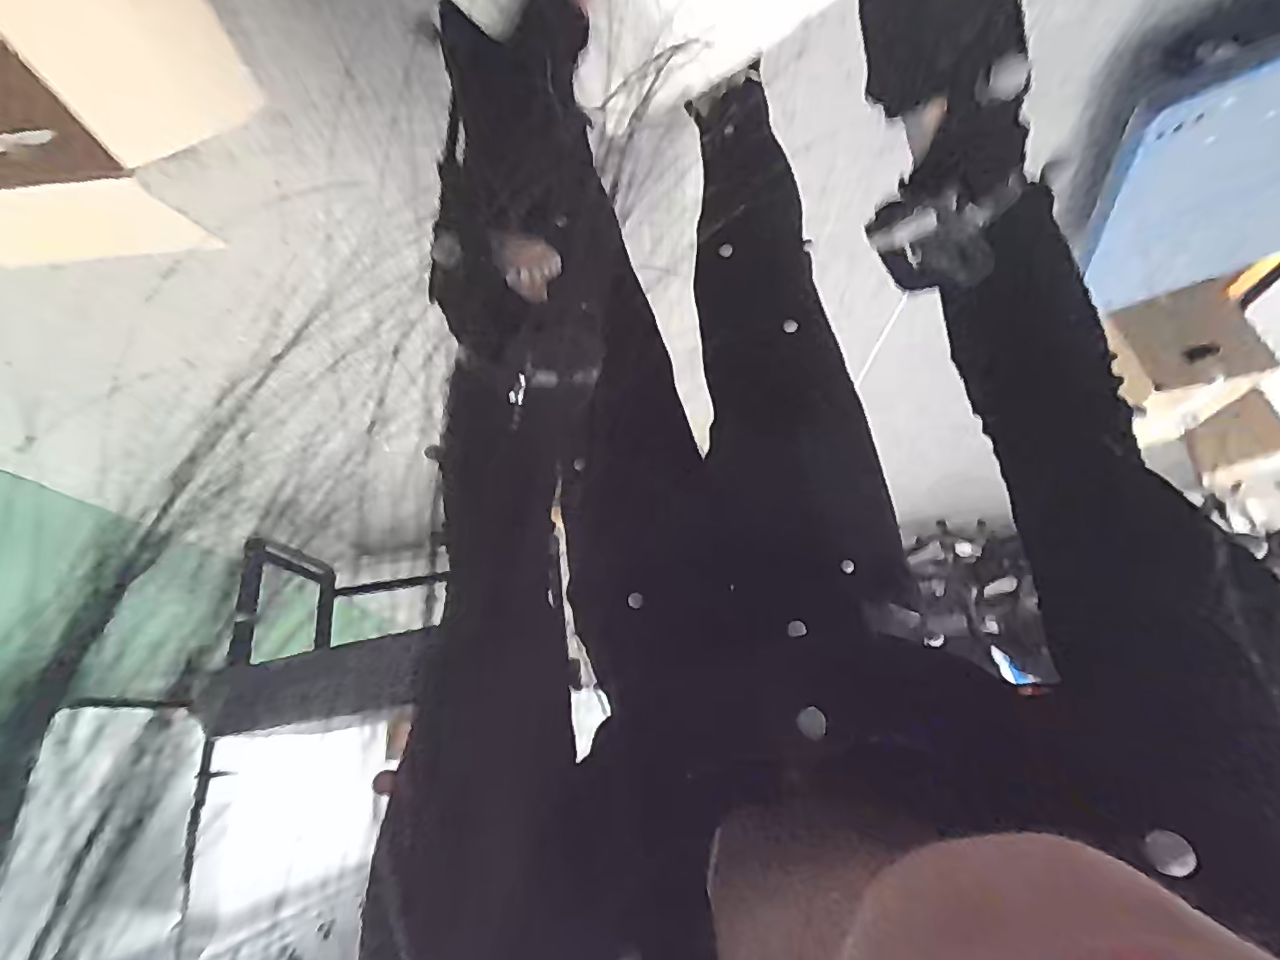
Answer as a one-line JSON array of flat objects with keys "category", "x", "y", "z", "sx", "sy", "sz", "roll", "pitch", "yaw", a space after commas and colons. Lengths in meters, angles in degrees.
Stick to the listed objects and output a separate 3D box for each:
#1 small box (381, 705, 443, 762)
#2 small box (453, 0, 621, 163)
[{"category": "small box", "x": -0.833, "y": 0.930, "z": 1.992, "sx": 0.168, "sy": 0.176, "sz": 0.179, "roll": -8, "pitch": 155, "yaw": -4}, {"category": "small box", "x": -0.144, "y": -0.585, "z": 0.735, "sx": 0.179, "sy": 0.176, "sz": 0.168, "roll": 20, "pitch": 156, "yaw": -17}]
